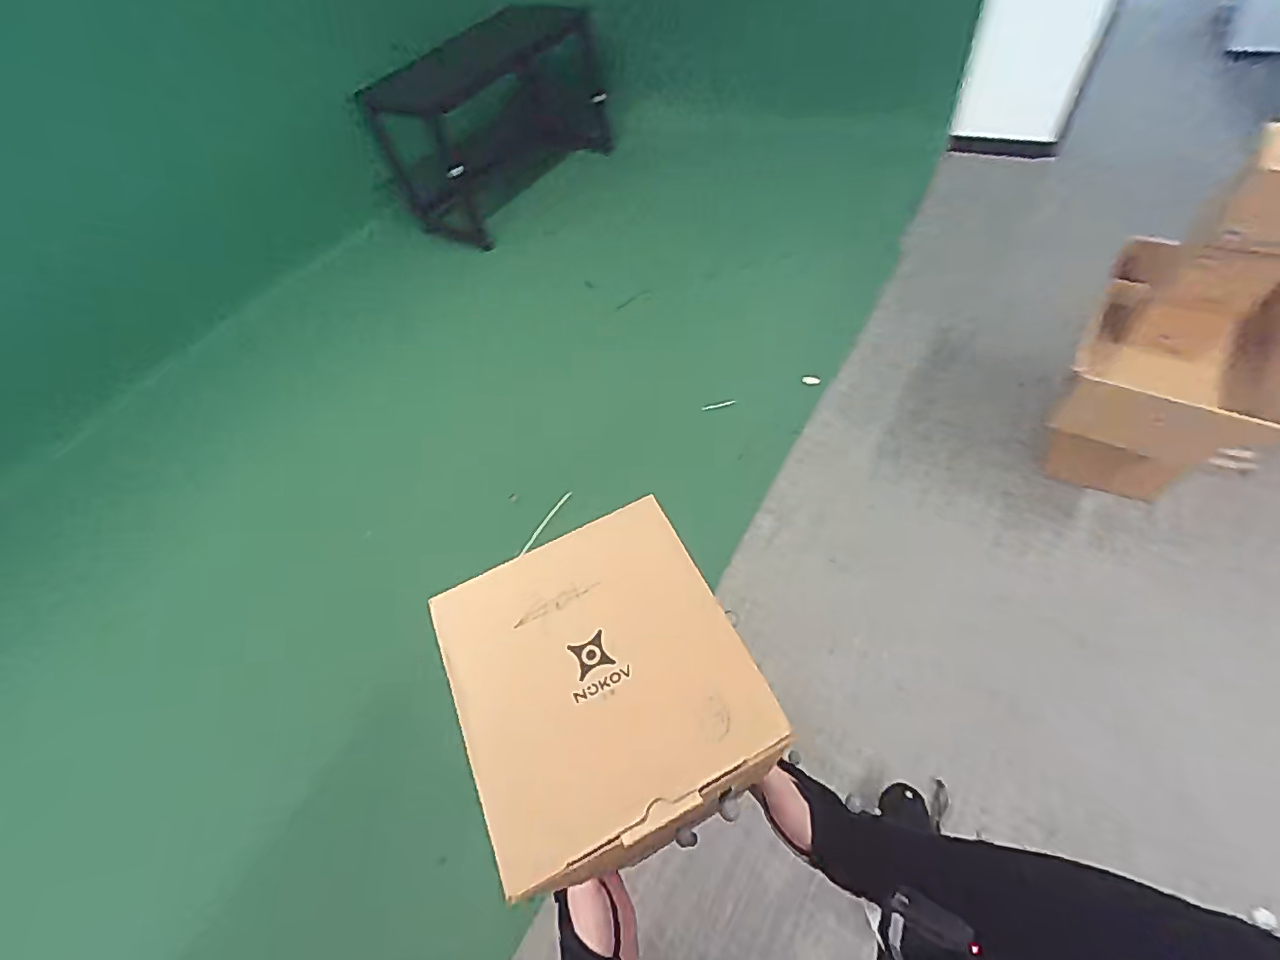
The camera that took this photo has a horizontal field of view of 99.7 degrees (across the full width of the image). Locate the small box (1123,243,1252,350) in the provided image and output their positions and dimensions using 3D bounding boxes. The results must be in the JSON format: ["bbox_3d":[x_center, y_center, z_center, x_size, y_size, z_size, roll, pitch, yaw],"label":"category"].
[{"bbox_3d":[1.389,-0.466,1.381,0.168,0.176,0.179,24,67,25],"label":"small box"}]

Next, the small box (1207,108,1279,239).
[{"bbox_3d":[1.314,-0.618,1.099,0.168,0.176,0.179,22,66,24],"label":"small box"}]
